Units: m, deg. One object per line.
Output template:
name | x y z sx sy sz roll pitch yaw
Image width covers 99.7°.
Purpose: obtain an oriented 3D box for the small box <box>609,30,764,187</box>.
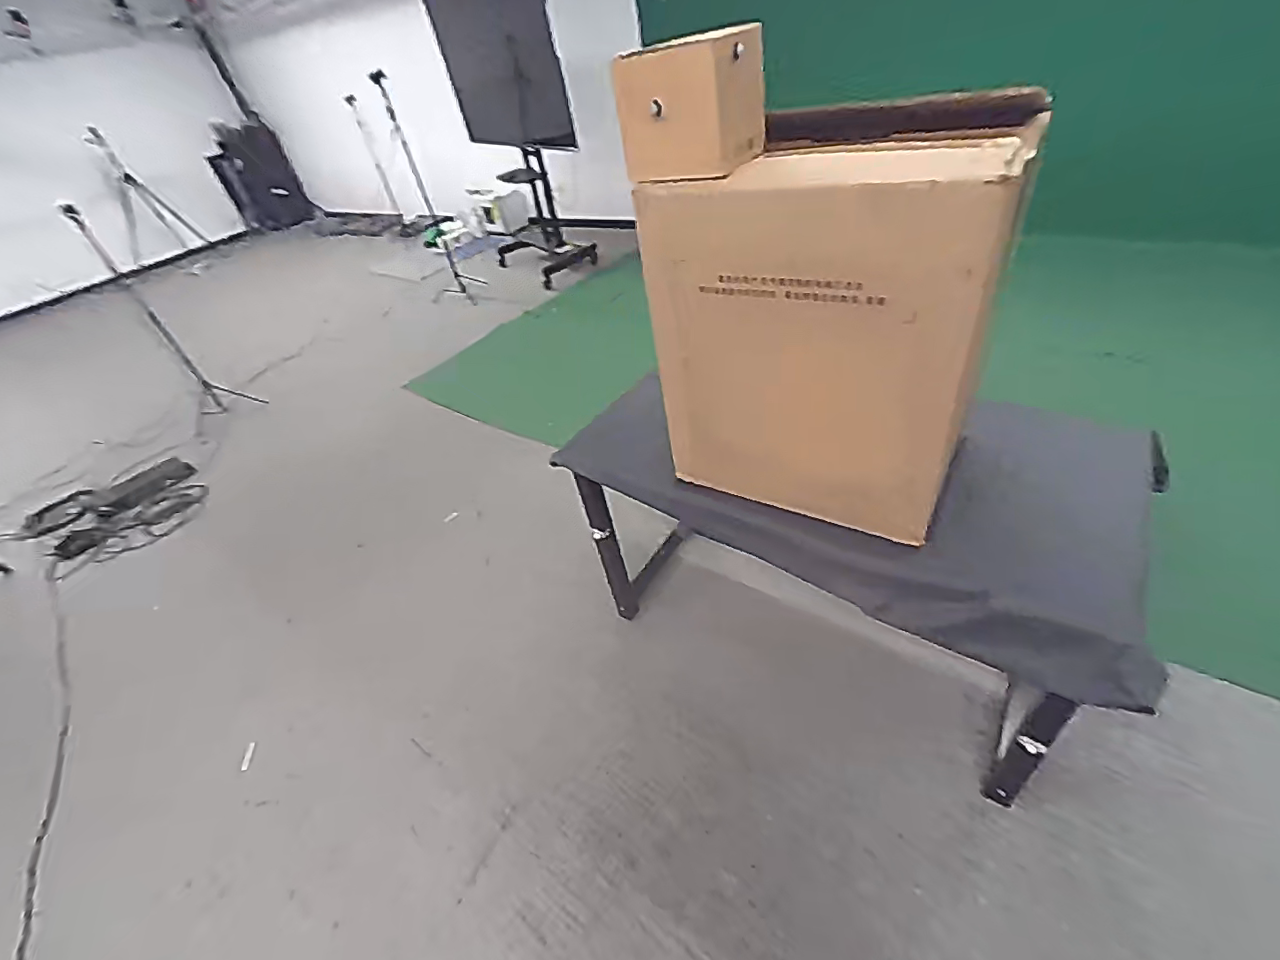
small box | 0.082 -0.577 0.854 0.179 0.176 0.168 14 48 31
